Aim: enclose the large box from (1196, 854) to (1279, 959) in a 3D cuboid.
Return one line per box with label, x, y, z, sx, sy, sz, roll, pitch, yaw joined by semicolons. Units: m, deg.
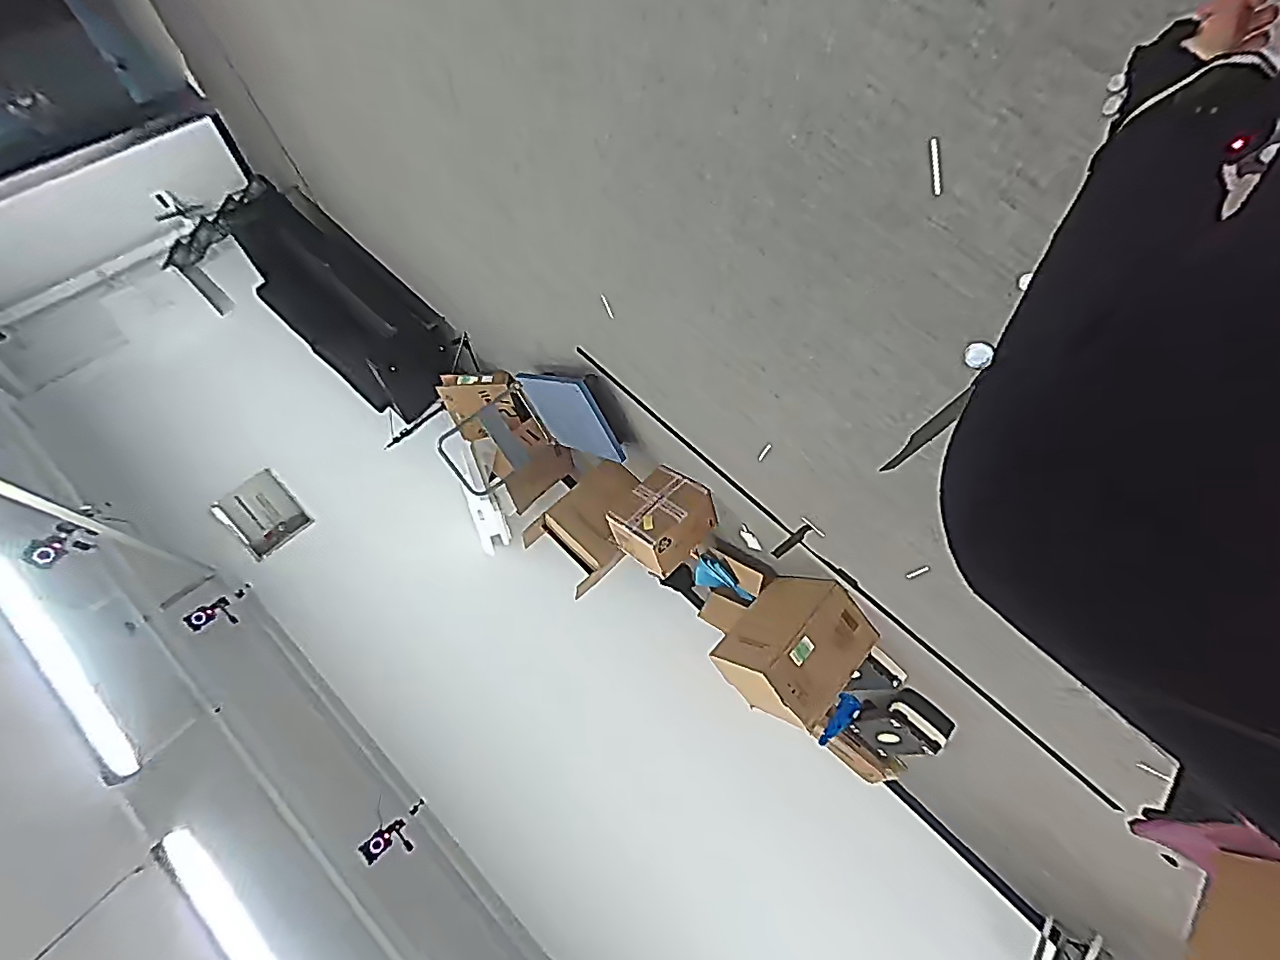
large box;1.059;0.785;0.687;0.408;0.320;0.320;41;159;13
